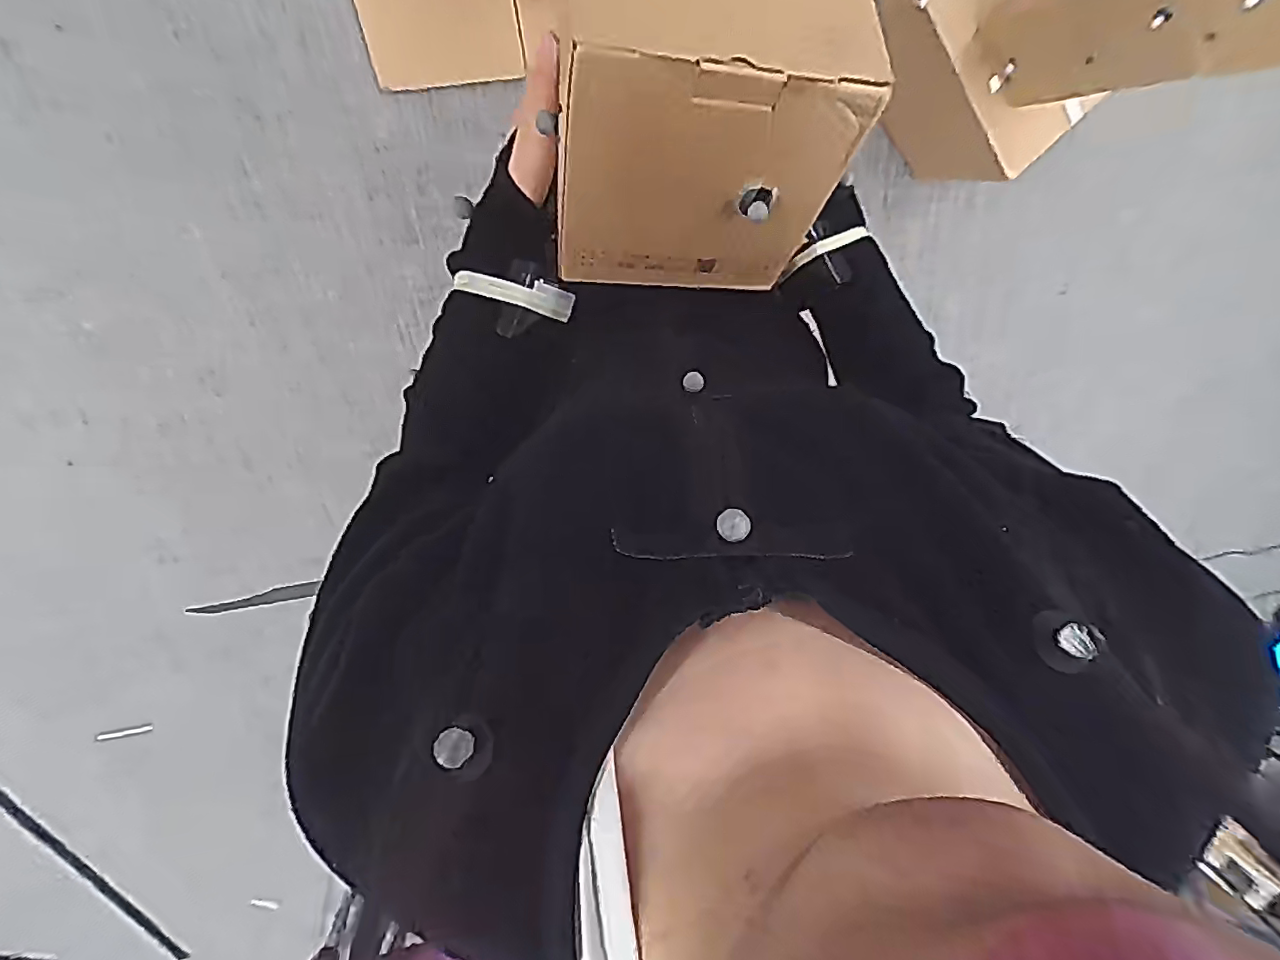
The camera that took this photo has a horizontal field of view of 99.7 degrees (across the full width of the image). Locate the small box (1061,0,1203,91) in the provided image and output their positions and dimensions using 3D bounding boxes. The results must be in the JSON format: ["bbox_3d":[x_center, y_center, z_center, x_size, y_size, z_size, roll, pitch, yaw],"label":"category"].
[{"bbox_3d":[0.761,-0.702,0.767,0.168,0.176,0.179,38,104,-27],"label":"small box"}]

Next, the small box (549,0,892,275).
[{"bbox_3d":[0.027,-0.259,0.356,0.168,0.179,0.176,-2,162,-12],"label":"small box"}]

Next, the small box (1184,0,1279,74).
[{"bbox_3d":[0.794,-0.622,0.628,0.168,0.176,0.179,38,104,-27],"label":"small box"}]

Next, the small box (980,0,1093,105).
[{"bbox_3d":[0.728,-0.776,0.909,0.168,0.176,0.179,38,105,-27],"label":"small box"}]
